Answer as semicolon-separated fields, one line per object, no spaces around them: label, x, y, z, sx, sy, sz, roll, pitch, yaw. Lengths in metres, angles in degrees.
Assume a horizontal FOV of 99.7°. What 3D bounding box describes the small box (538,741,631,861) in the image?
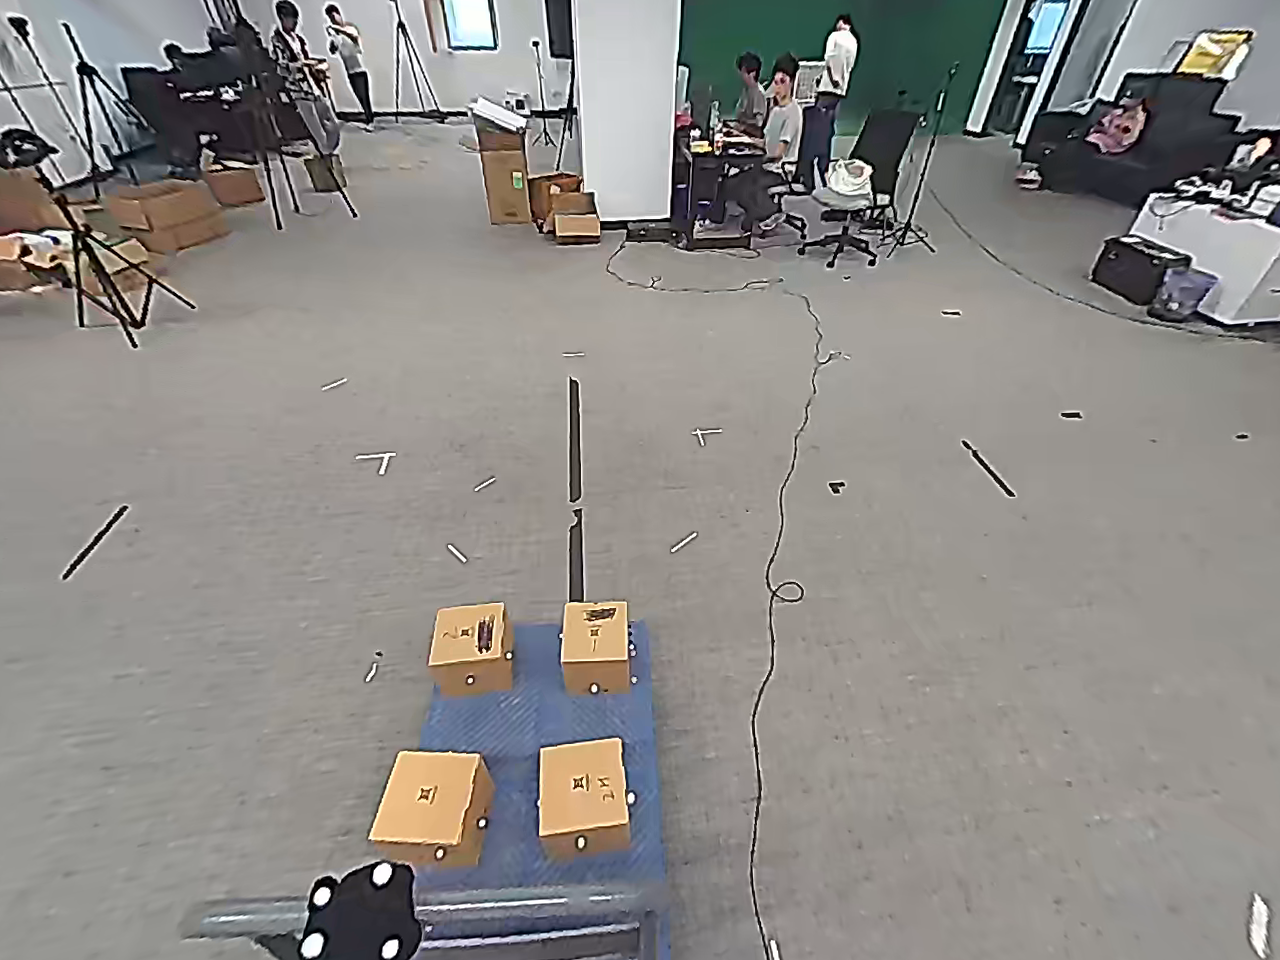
small box;-0.115;0.679;1.143;0.179;0.176;0.168;-4;41;-5

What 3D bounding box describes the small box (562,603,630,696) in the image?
small box;-0.110;0.445;1.417;0.168;0.176;0.179;-1;42;-1

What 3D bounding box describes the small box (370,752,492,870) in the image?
small box;-0.424;0.692;1.129;0.179;0.176;0.168;2;40;0
